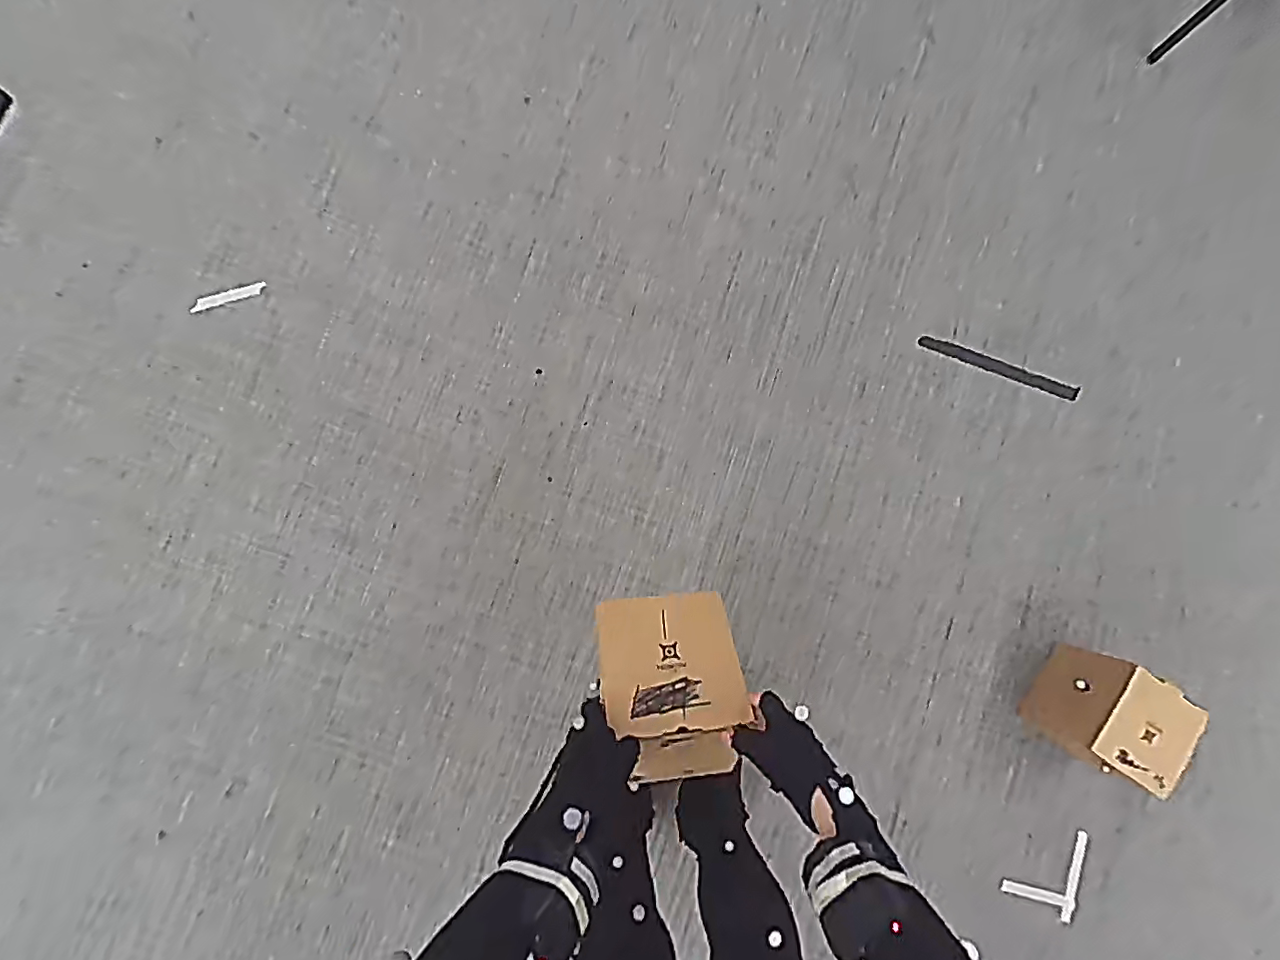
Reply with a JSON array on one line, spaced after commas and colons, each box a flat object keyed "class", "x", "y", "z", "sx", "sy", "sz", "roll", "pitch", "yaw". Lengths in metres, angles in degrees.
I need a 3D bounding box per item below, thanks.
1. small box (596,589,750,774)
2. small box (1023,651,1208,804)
[{"class": "small box", "x": 0.031, "y": 0.266, "z": 0.705, "sx": 0.168, "sy": 0.176, "sz": 0.179, "roll": -3, "pitch": 45, "yaw": -7}, {"class": "small box", "x": 0.874, "y": 0.447, "z": 1.012, "sx": 0.168, "sy": 0.176, "sz": 0.179, "roll": 35, "pitch": 83, "yaw": -1}]
